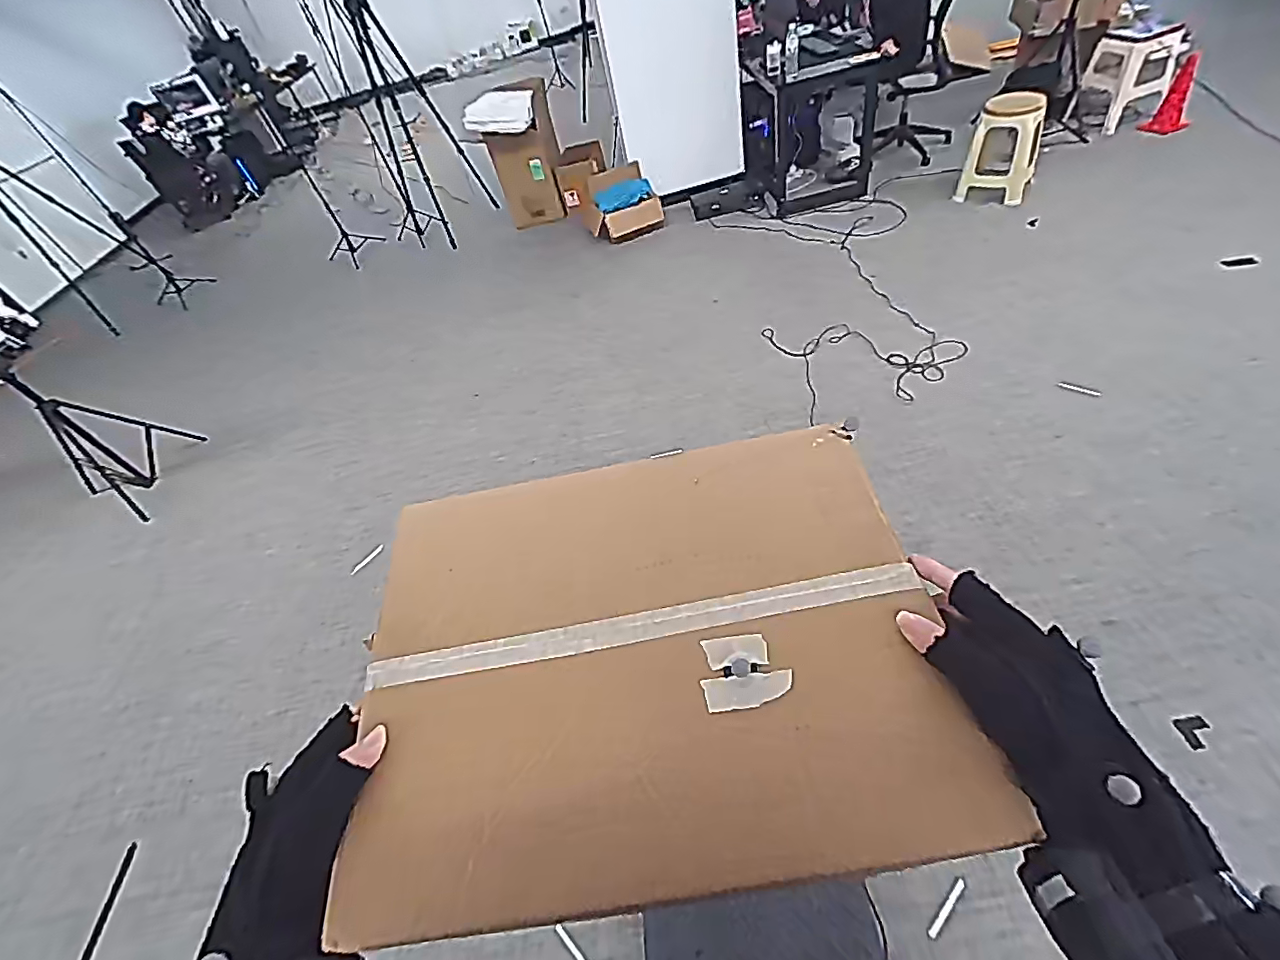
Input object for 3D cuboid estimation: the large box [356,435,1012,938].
[{"bbox_3d":[0.024,0.205,0.523,0.408,0.320,0.320,-11,52,2],"label":"large box"}]
